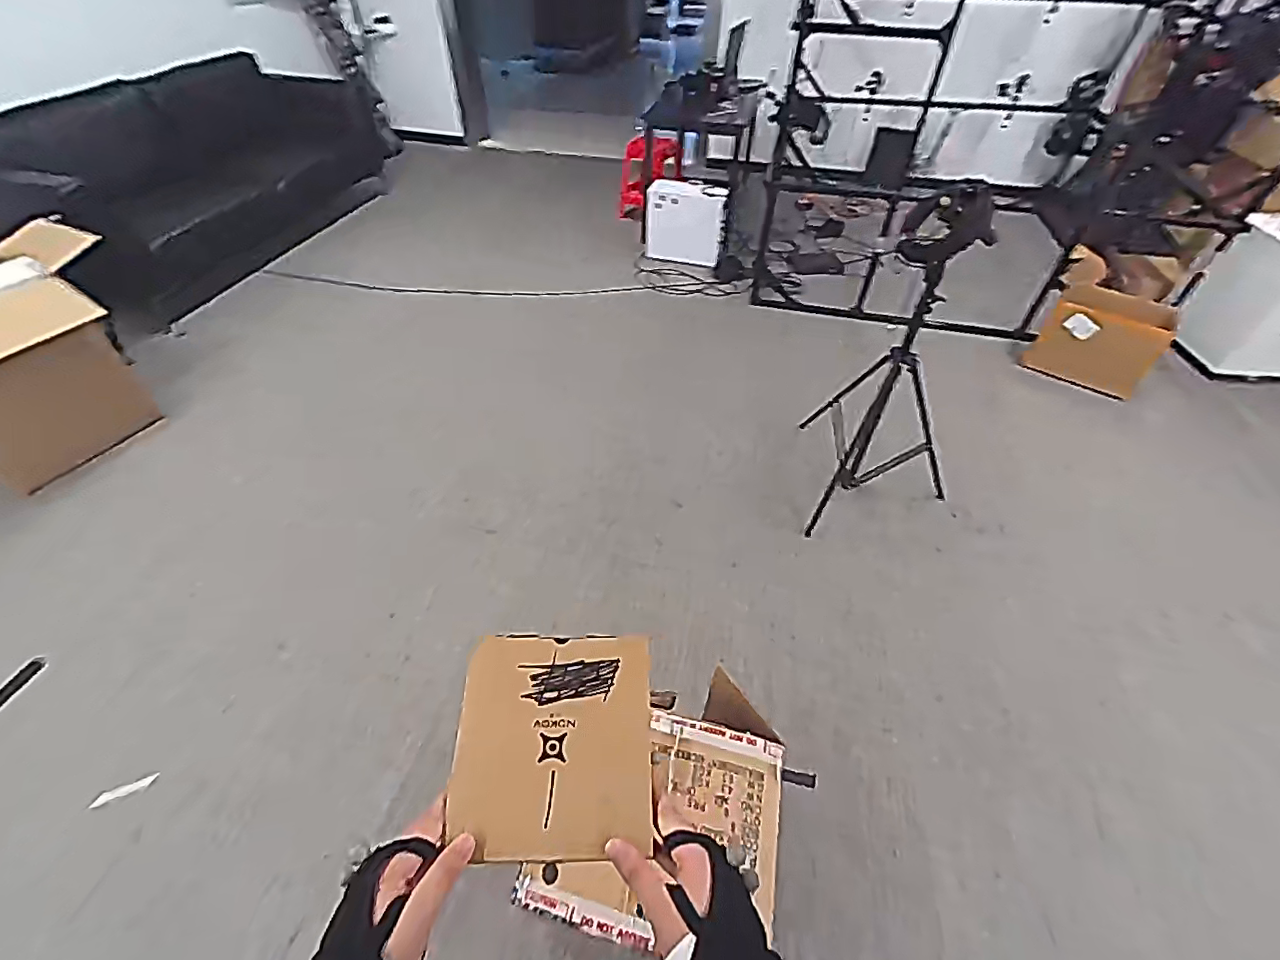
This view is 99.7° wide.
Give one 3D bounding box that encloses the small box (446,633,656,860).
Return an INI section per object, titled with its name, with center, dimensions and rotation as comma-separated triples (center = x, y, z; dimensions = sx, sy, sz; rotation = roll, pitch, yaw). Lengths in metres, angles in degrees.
[small box]
center = -0.075, 0.264, 0.531
dimensions = 0.168, 0.176, 0.179
rotation = 0, 55, -3
